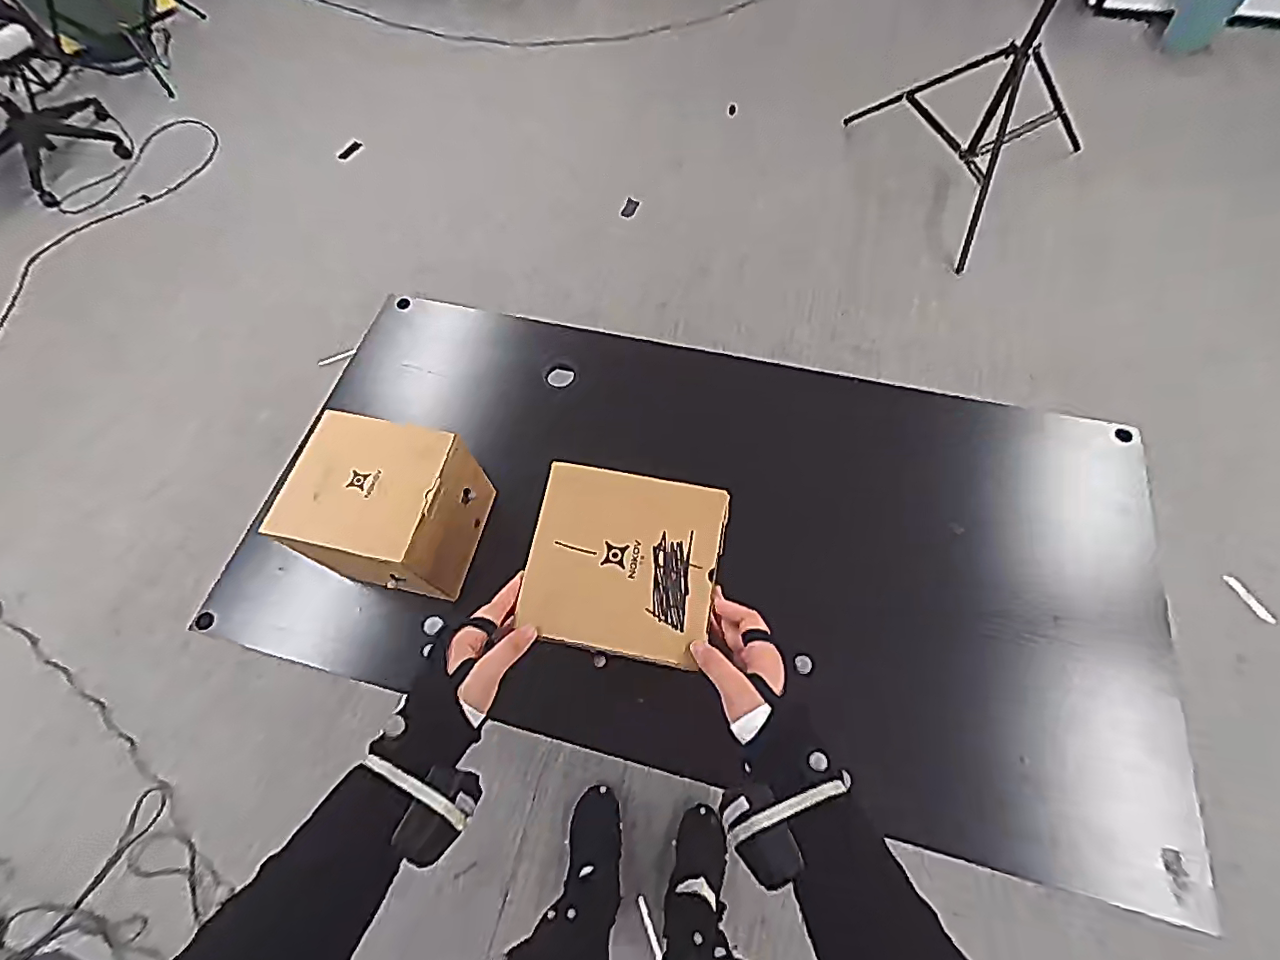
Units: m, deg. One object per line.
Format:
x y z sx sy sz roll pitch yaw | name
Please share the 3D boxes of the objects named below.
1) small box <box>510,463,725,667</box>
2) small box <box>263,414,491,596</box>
-0.016 0.099 0.582 0.179 0.176 0.168 10 71 5 | small box
-0.312 0.040 0.689 0.179 0.176 0.168 10 64 8 | small box
